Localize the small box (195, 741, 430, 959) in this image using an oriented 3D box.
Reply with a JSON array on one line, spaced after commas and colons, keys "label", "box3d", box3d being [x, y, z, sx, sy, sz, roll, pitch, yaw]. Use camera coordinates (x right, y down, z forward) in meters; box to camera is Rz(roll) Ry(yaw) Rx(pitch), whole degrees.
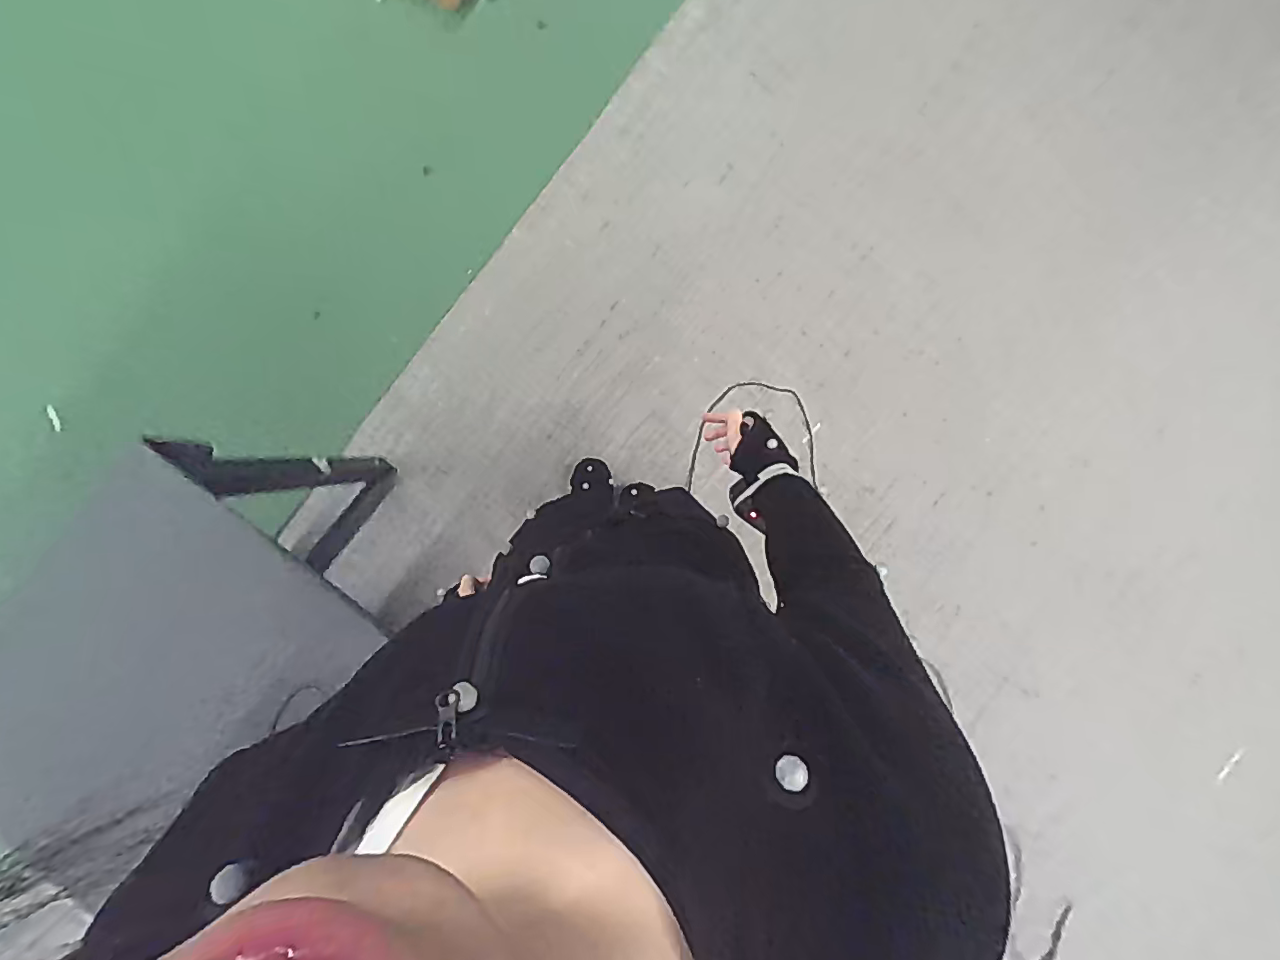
[{"label": "small box", "box3d": [-0.417, 0.499, 0.723, 0.168, 0.176, 0.179, 39, 93, -2]}]
